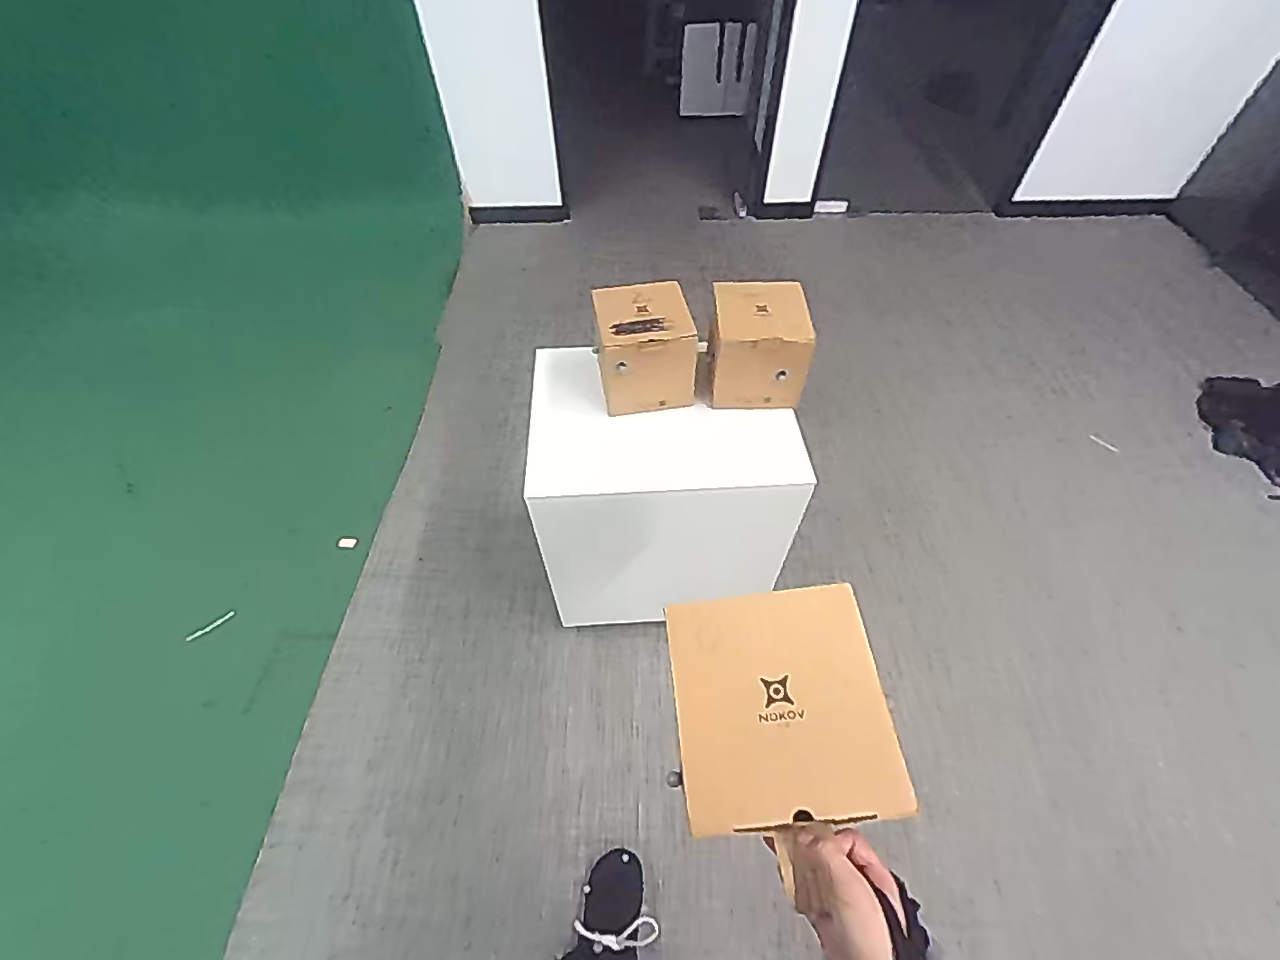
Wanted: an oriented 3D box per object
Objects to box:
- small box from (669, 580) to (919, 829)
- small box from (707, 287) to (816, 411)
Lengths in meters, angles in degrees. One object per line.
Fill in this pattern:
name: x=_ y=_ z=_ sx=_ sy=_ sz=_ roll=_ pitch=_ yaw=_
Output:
small box: x=0.118 y=0.212 z=0.498 sx=0.168 sy=0.176 sz=0.179 roll=-8 pitch=58 yaw=2
small box: x=0.221 y=-0.245 z=1.030 sx=0.168 sy=0.176 sz=0.179 roll=0 pitch=52 yaw=0
